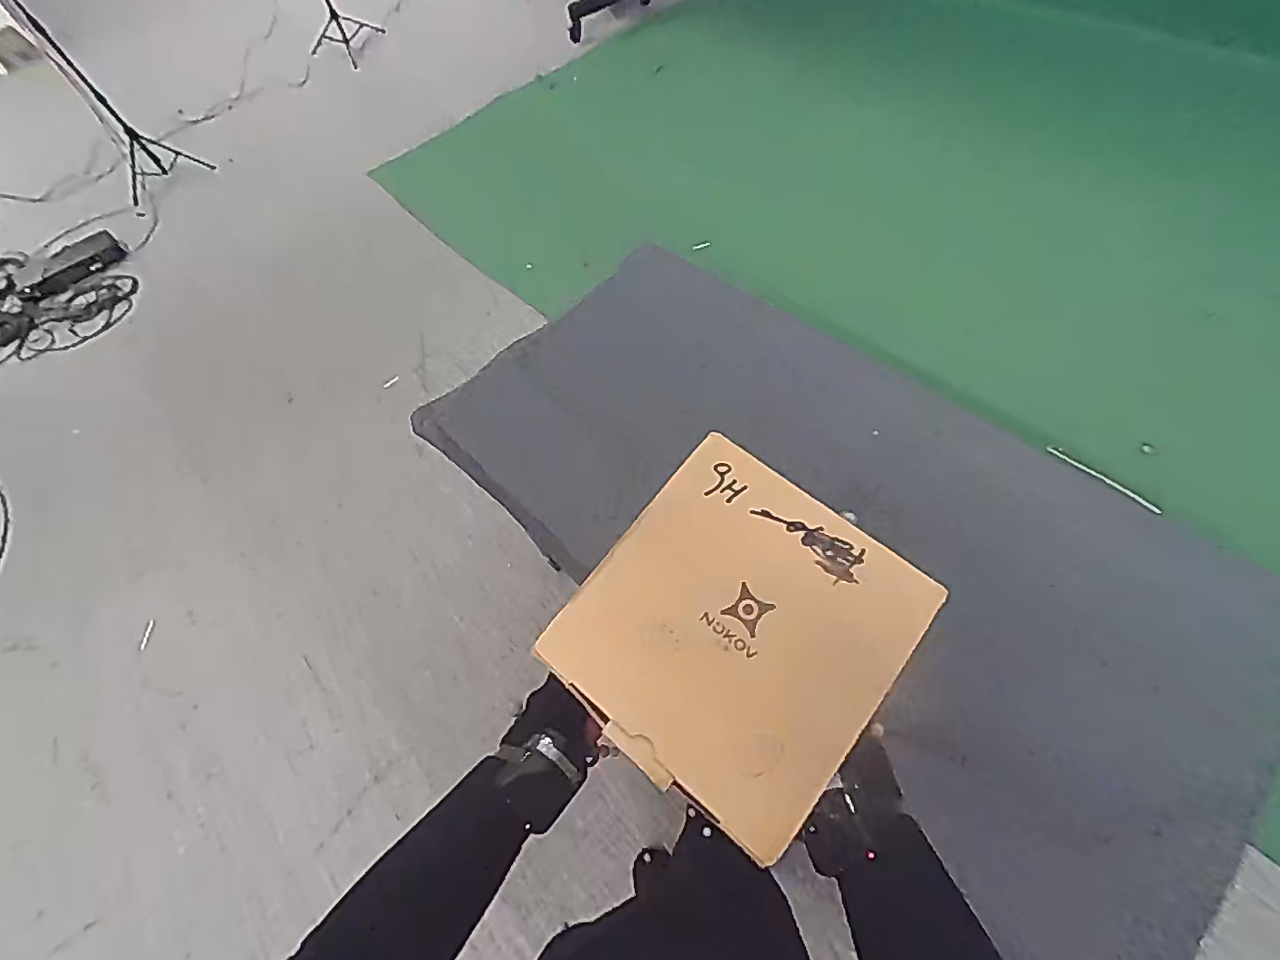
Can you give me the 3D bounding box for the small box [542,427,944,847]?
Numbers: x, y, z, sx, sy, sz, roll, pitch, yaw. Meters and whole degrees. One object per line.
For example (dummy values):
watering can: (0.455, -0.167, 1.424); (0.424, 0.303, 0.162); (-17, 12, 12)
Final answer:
small box: (0.064, 0.102, 0.383); (0.168, 0.176, 0.179); (38, 77, 16)
